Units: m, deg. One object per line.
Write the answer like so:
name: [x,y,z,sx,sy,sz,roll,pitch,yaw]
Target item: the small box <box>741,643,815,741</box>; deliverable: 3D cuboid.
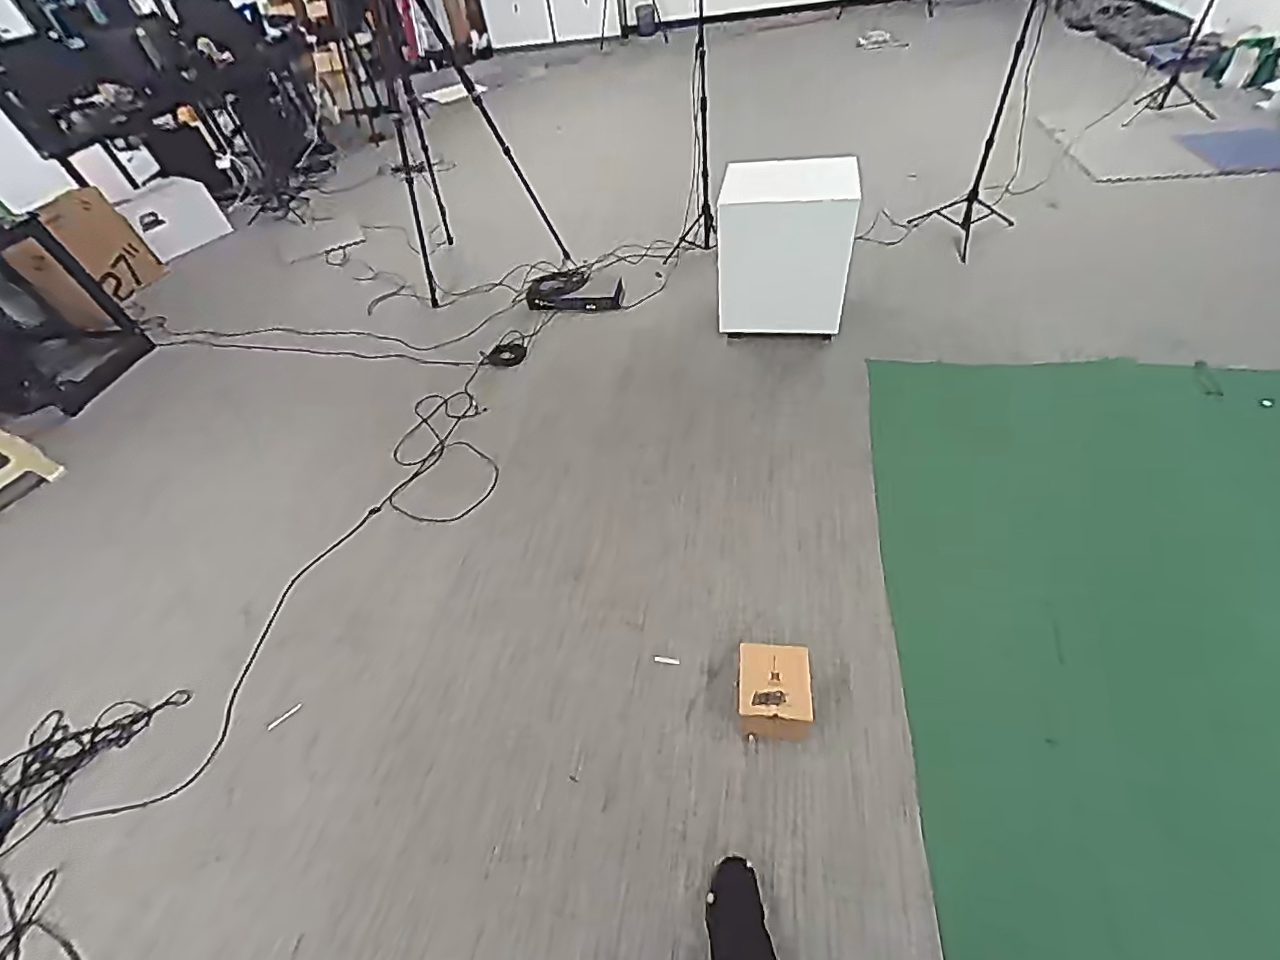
small box: [0.336,0.524,1.332,0.168,0.176,0.179,2,49,11]
